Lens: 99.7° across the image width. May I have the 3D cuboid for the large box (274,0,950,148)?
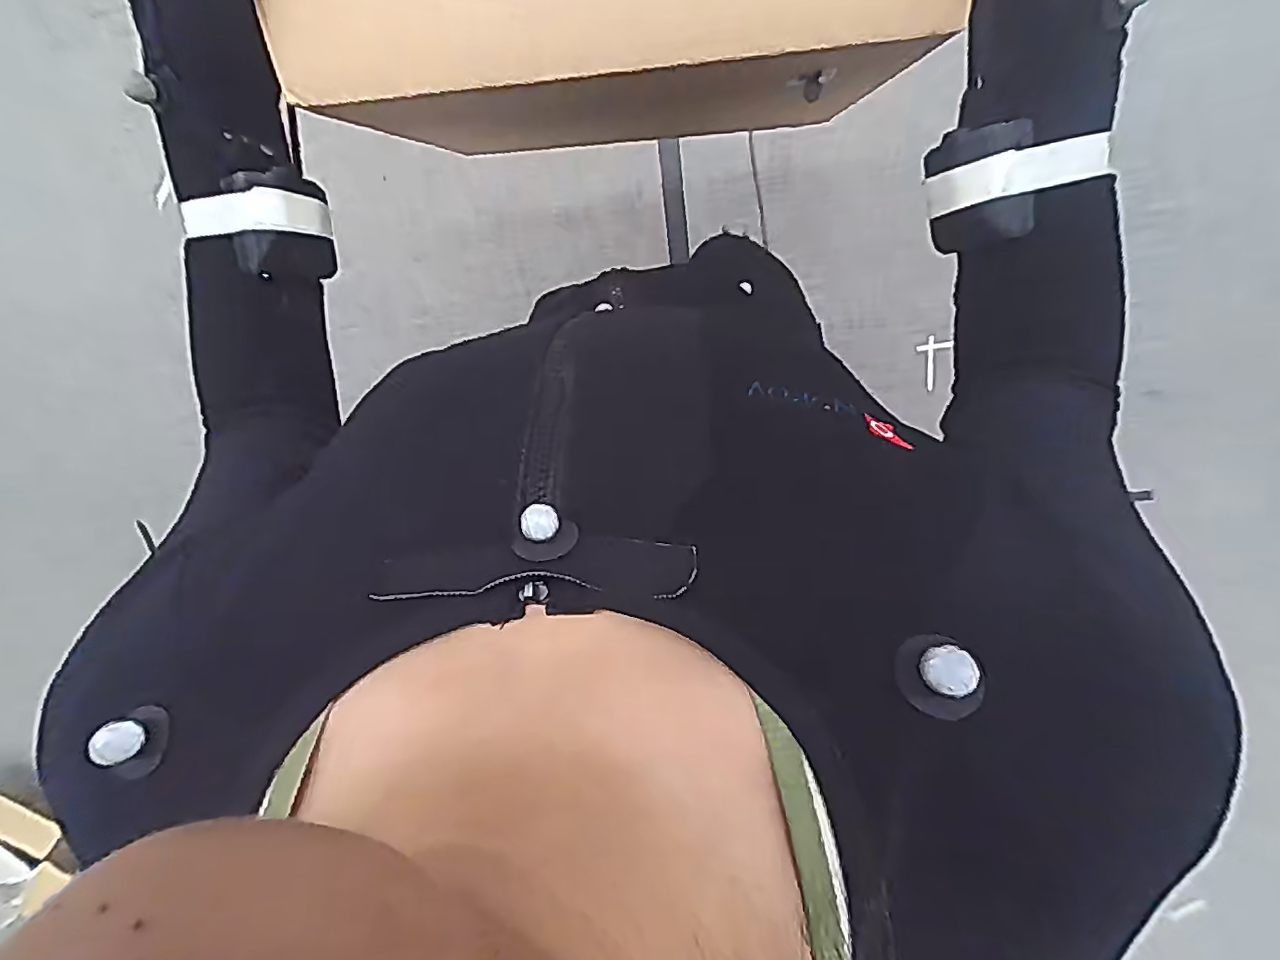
[{"bbox_3d":[-0.021,-0.452,0.398,0.408,0.320,0.320,-2,115,5],"label":"large box"}]
